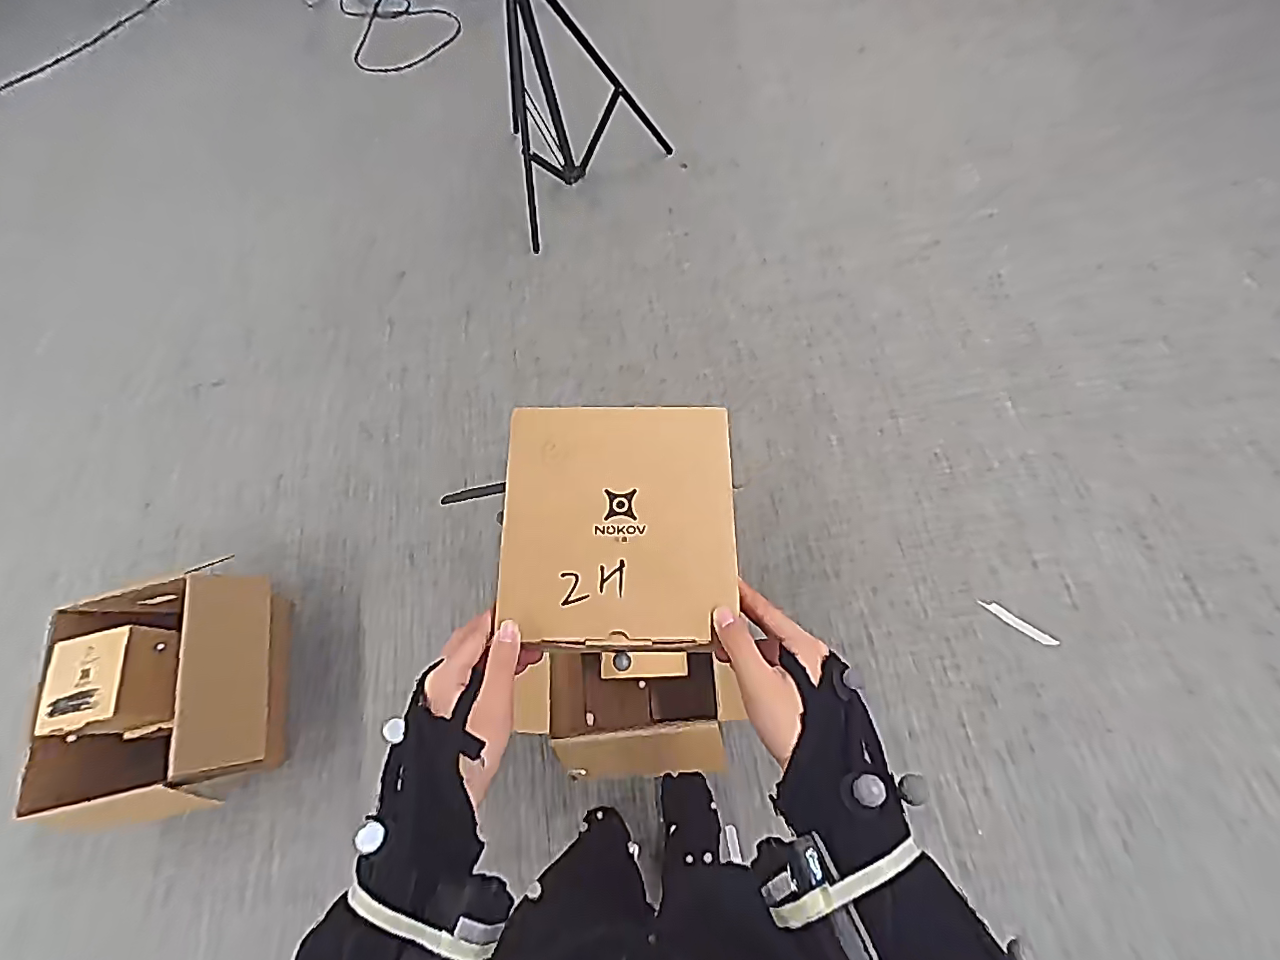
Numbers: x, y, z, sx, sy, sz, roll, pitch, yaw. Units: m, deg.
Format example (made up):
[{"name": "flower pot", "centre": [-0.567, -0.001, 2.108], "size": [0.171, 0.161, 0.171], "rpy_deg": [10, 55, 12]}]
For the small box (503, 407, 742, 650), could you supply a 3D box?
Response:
[{"name": "small box", "centre": [-0.013, 0.052, 0.468], "size": [0.168, 0.176, 0.179], "rpy_deg": [-1, 71, 0]}]
